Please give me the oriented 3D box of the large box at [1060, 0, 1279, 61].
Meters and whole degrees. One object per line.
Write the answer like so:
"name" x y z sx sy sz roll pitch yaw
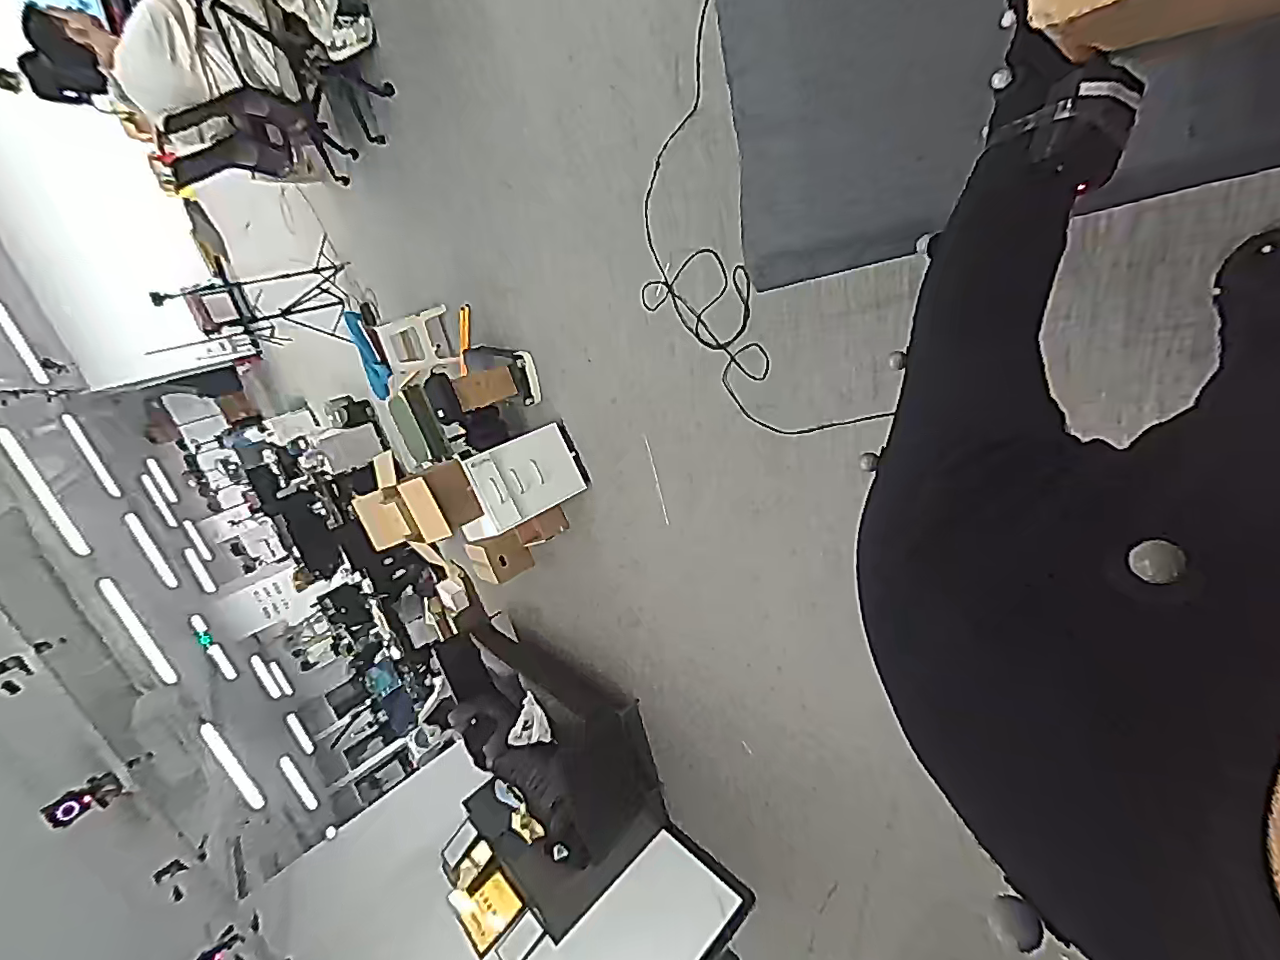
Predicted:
"large box" 0.419 -0.414 0.175 0.408 0.320 0.320 9 120 47
